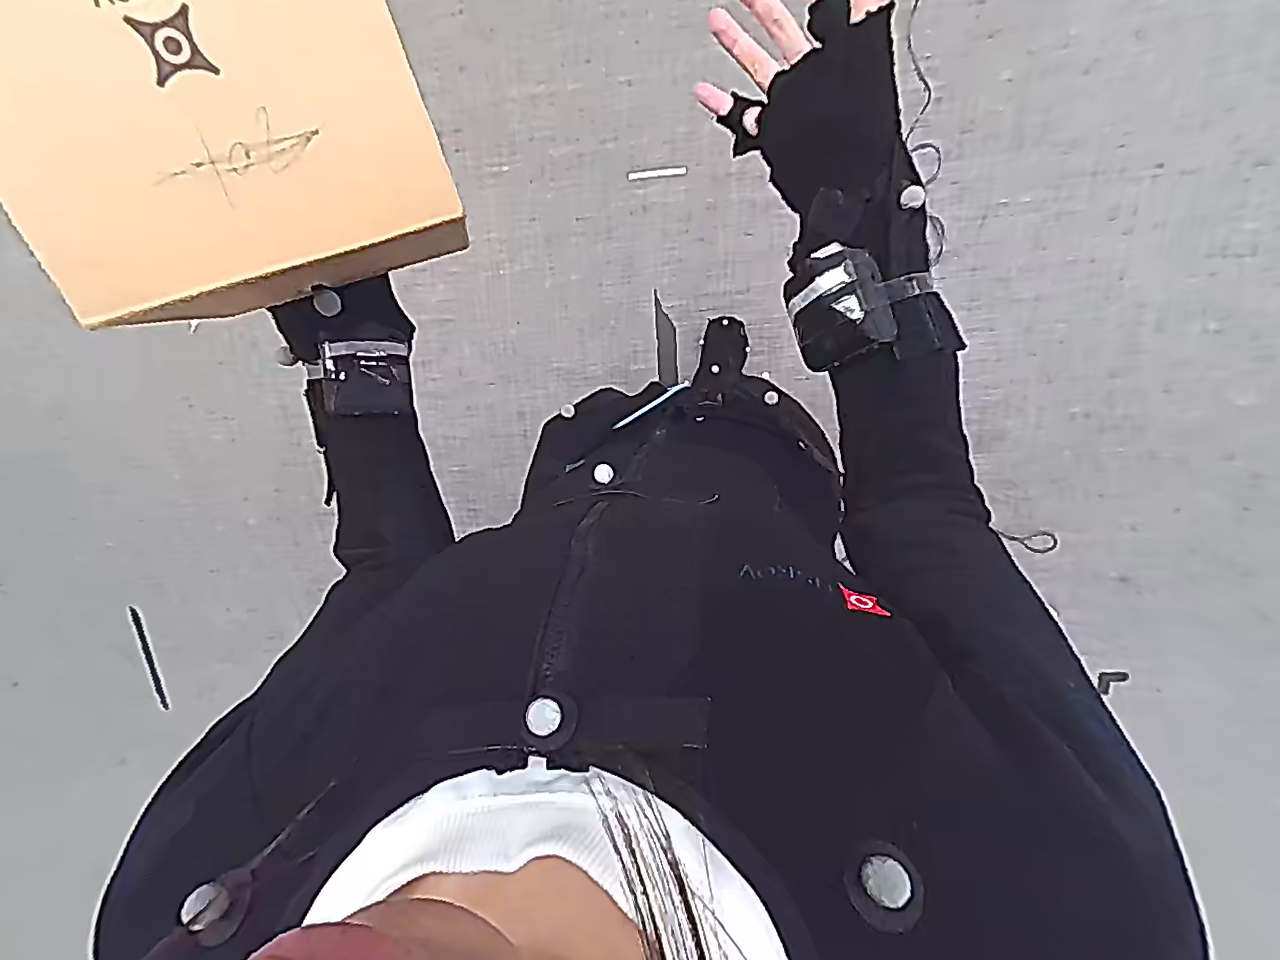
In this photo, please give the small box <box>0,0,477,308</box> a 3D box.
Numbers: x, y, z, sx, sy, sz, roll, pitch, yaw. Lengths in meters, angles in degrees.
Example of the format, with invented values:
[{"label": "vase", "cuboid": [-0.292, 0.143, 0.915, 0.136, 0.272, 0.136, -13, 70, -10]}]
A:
[{"label": "small box", "cuboid": [-0.199, -0.201, 0.289, 0.168, 0.176, 0.179, -21, 113, -9]}]
